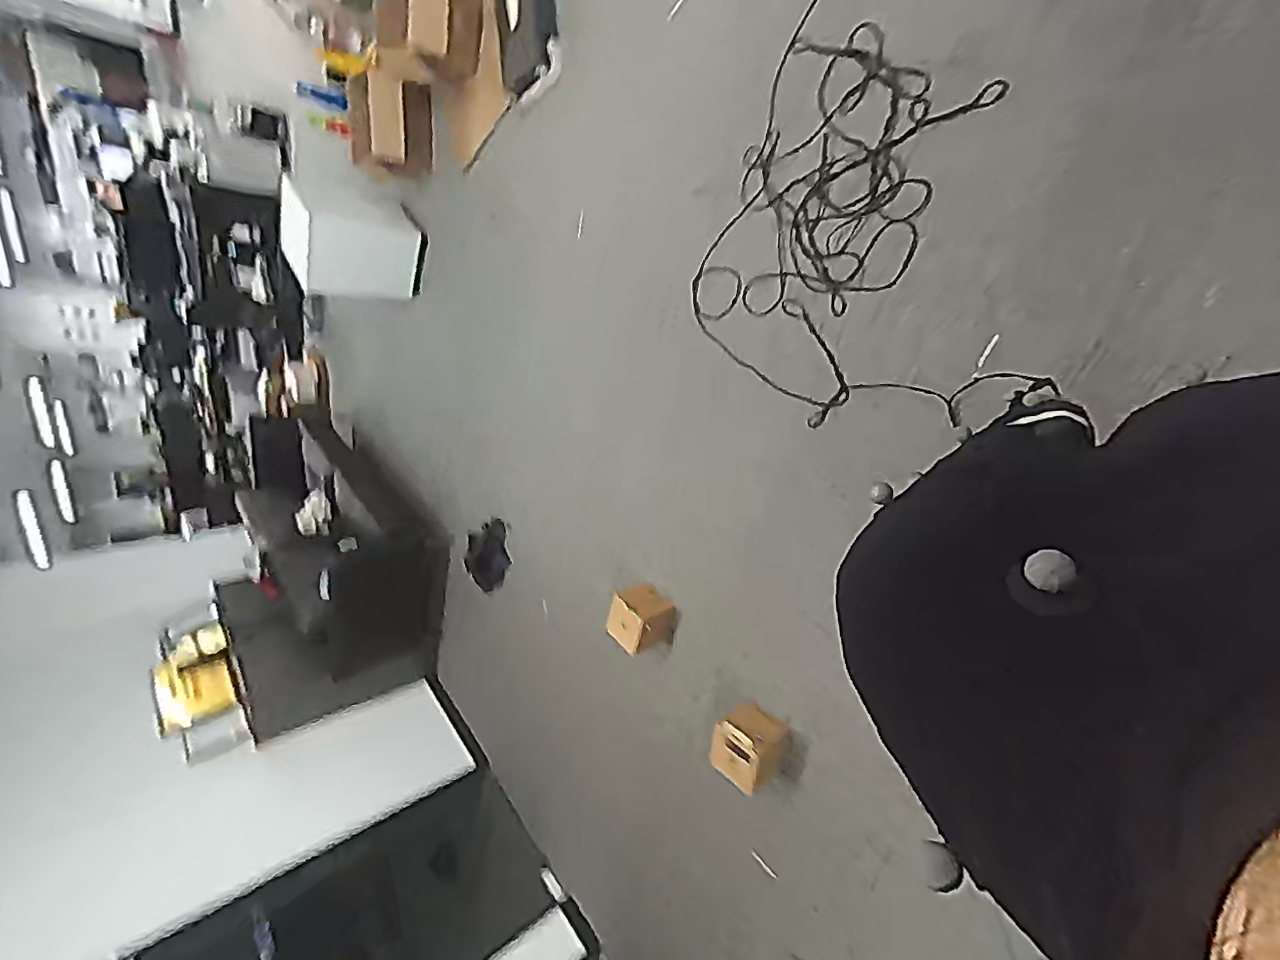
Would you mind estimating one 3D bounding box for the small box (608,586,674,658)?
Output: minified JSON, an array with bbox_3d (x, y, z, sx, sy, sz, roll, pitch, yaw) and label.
[{"bbox_3d":[0.004,0.526,2.028,0.168,0.176,0.179,34,121,39],"label":"small box"}]
